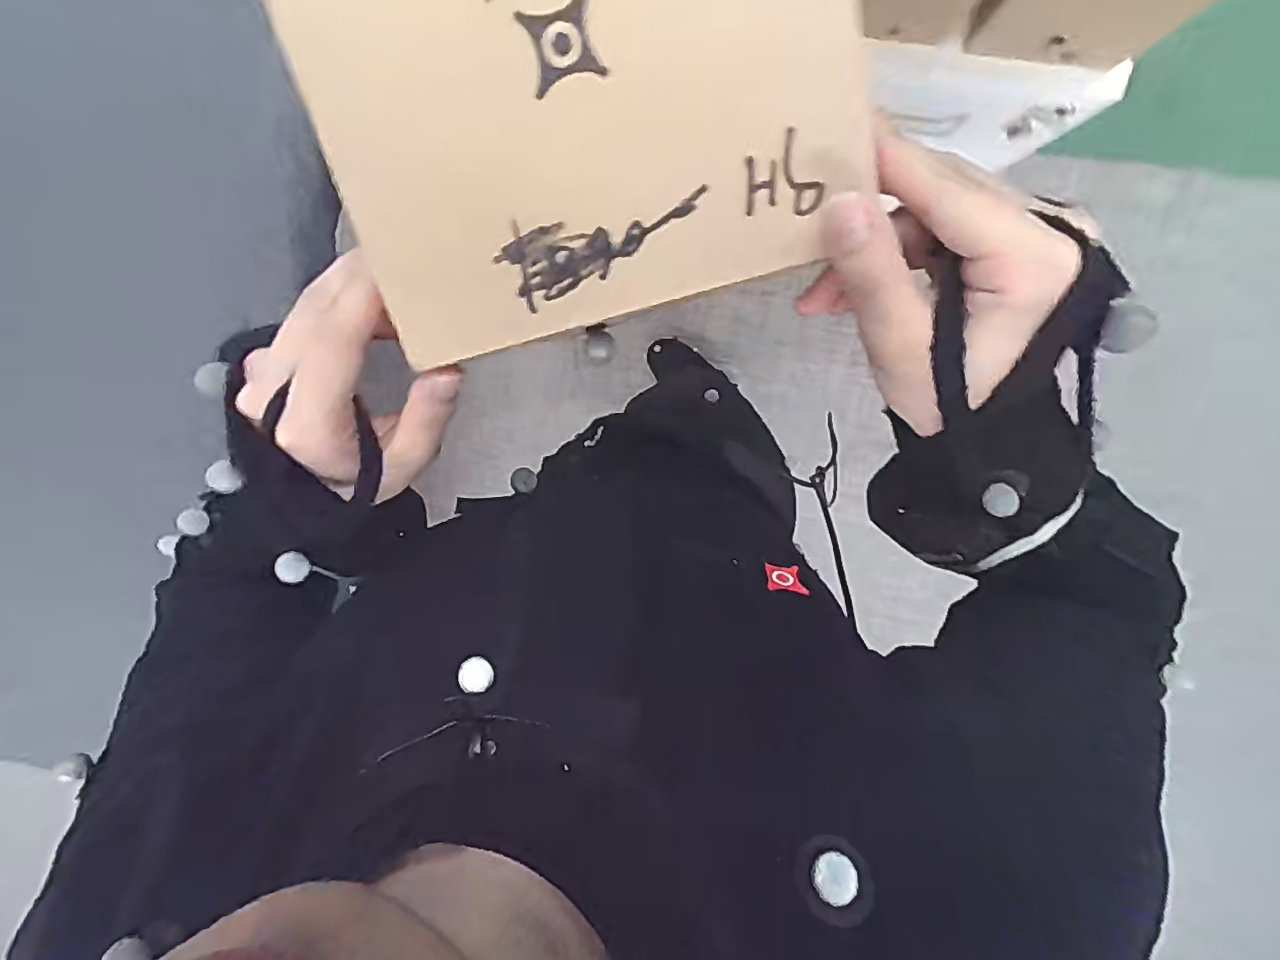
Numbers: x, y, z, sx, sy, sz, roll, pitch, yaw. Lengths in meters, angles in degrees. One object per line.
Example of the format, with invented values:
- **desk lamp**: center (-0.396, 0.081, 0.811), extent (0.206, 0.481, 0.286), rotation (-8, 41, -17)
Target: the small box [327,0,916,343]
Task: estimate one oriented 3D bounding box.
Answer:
- **small box**: center (-0.006, -0.165, 0.232), extent (0.168, 0.176, 0.179), rotation (-11, 107, 7)
